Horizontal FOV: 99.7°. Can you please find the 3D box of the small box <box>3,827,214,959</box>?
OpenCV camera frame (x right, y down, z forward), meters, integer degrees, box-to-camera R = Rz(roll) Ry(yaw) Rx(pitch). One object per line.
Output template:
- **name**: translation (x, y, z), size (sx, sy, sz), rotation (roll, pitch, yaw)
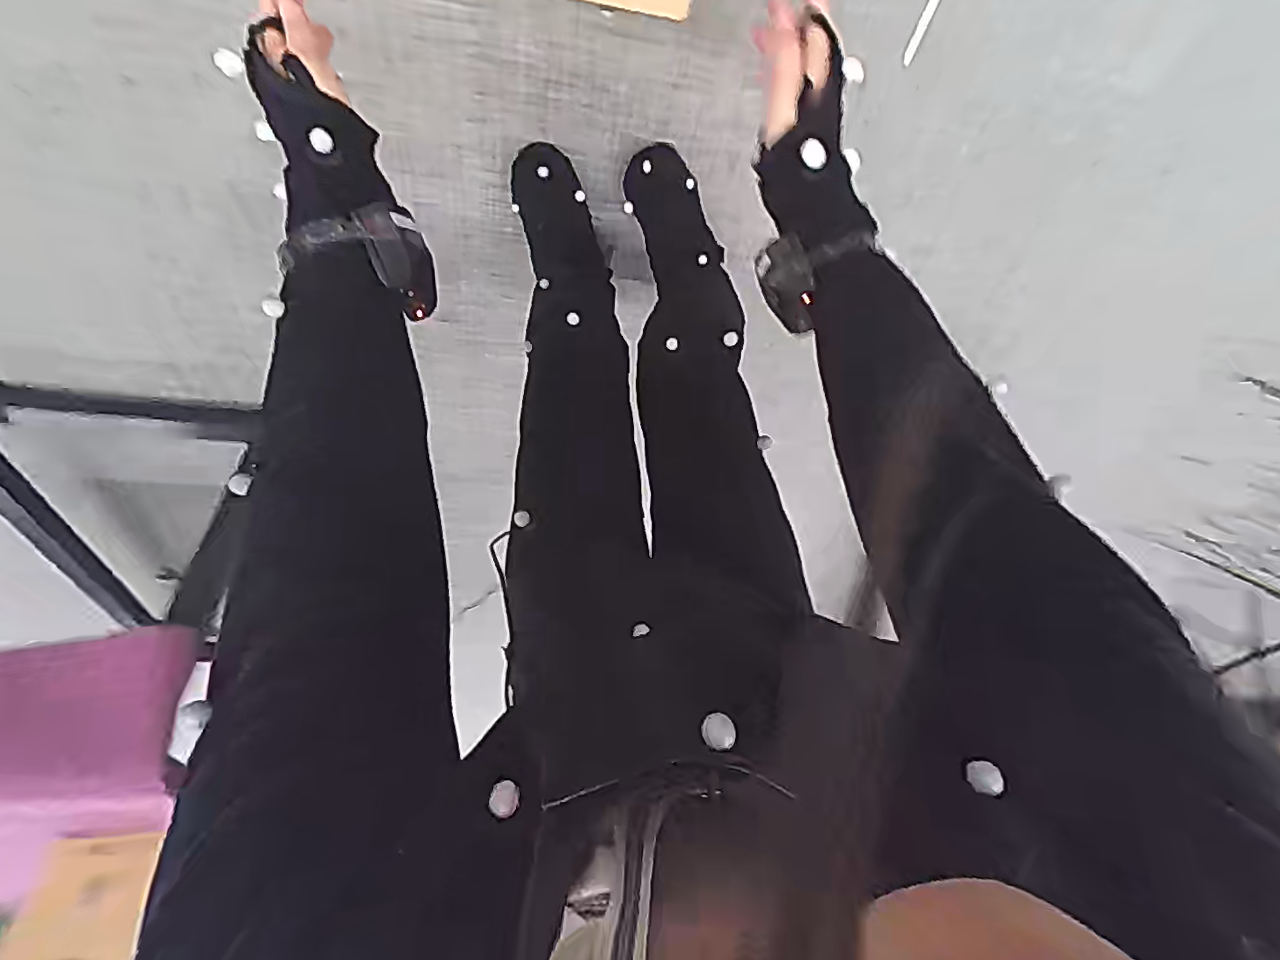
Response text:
- **small box**: translation (-0.826, 0.664, 0.859), size (0.168, 0.176, 0.179), rotation (4, 139, -14)
